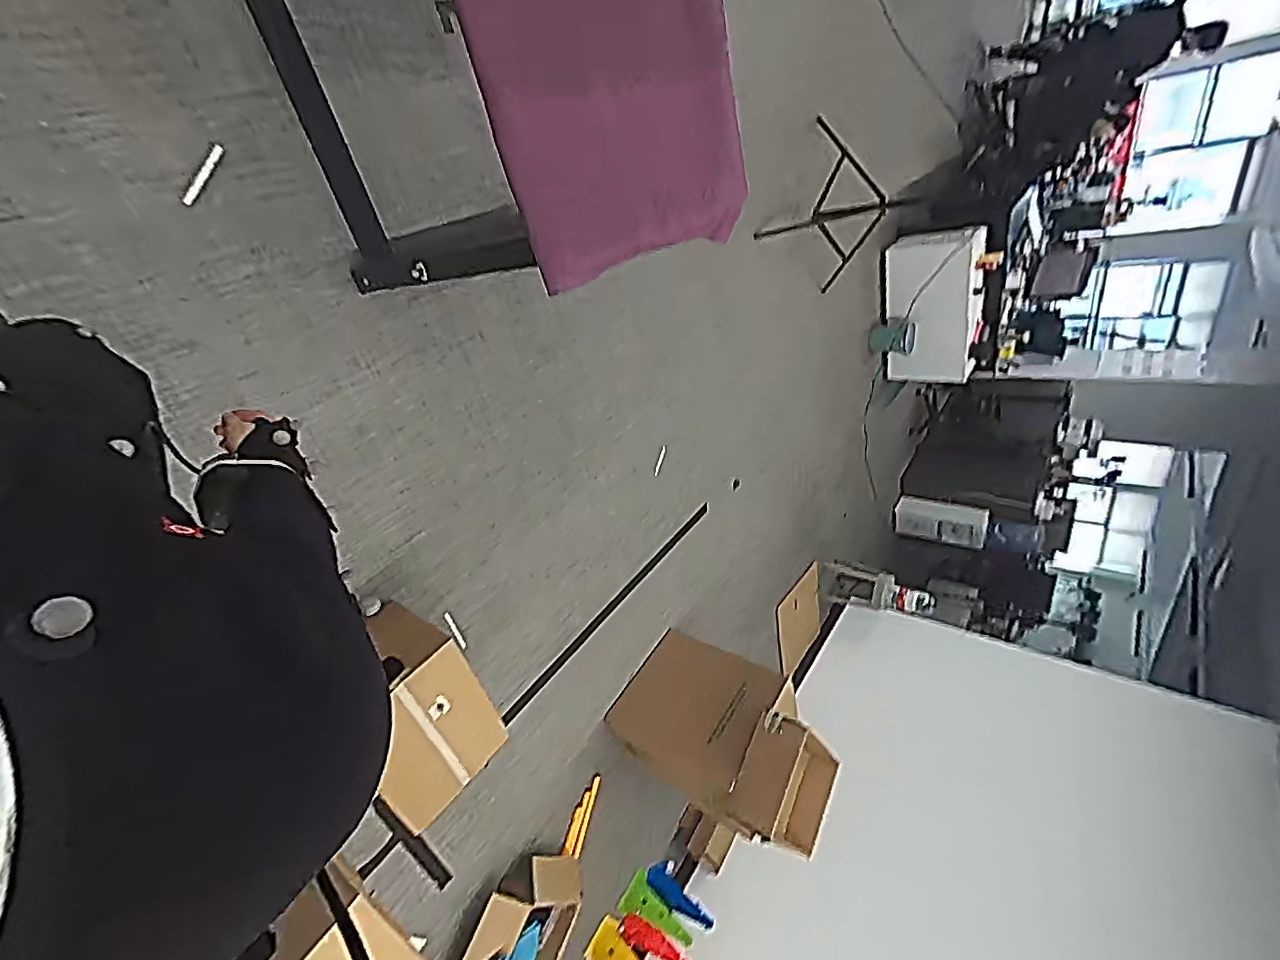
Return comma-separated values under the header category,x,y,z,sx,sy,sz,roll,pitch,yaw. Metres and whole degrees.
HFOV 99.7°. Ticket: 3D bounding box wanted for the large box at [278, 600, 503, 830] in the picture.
category,x,y,z,sx,sy,sz,roll,pitch,yaw
large box,-0.631,0.592,1.402,0.320,0.320,0.408,-42,128,-37
